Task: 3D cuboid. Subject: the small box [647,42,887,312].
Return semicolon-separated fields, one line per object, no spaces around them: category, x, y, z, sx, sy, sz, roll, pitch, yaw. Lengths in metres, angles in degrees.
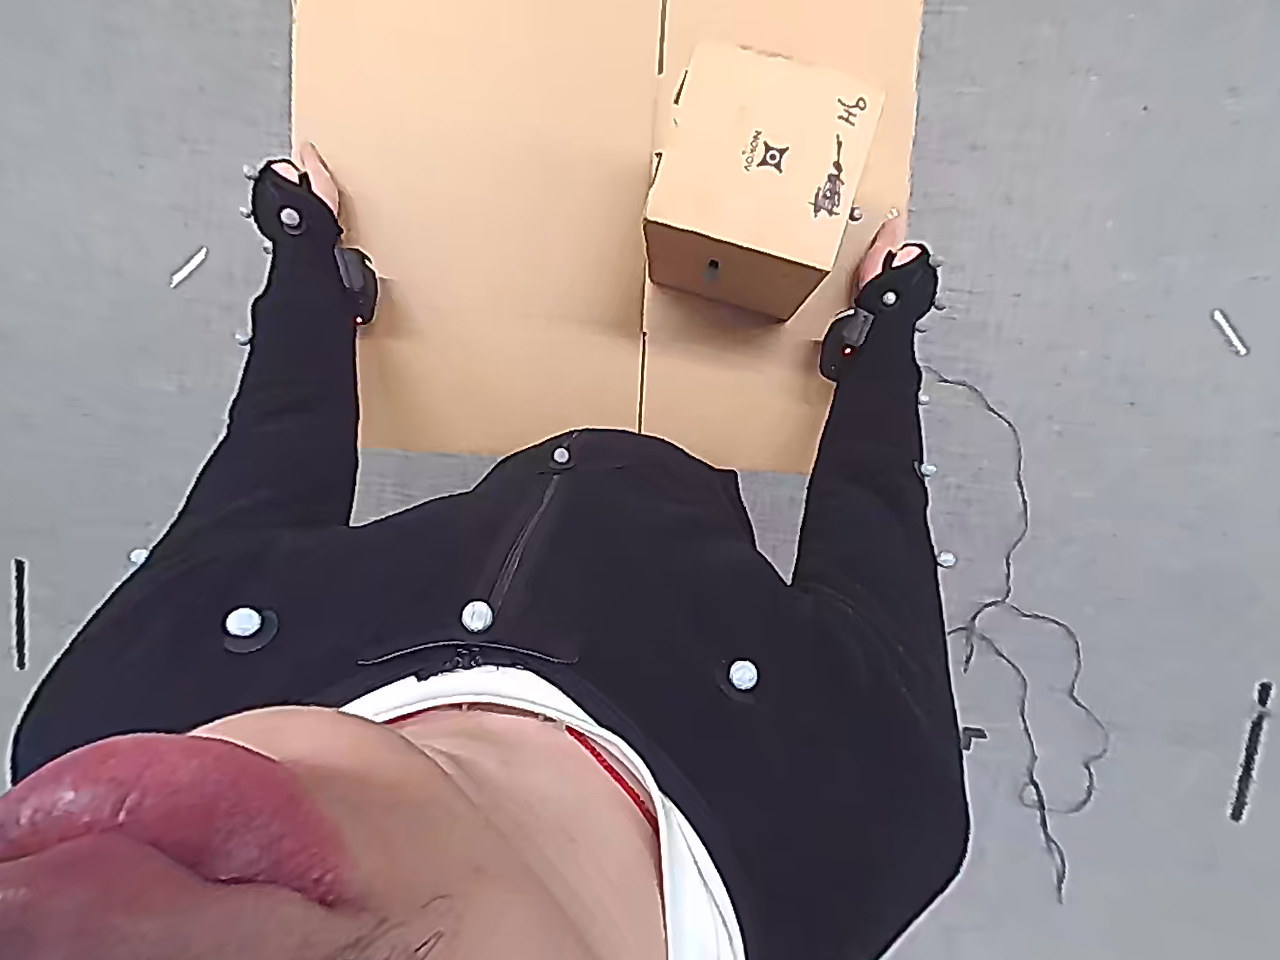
small box;0.117;-0.291;0.560;0.179;0.176;0.168;17;93;3
